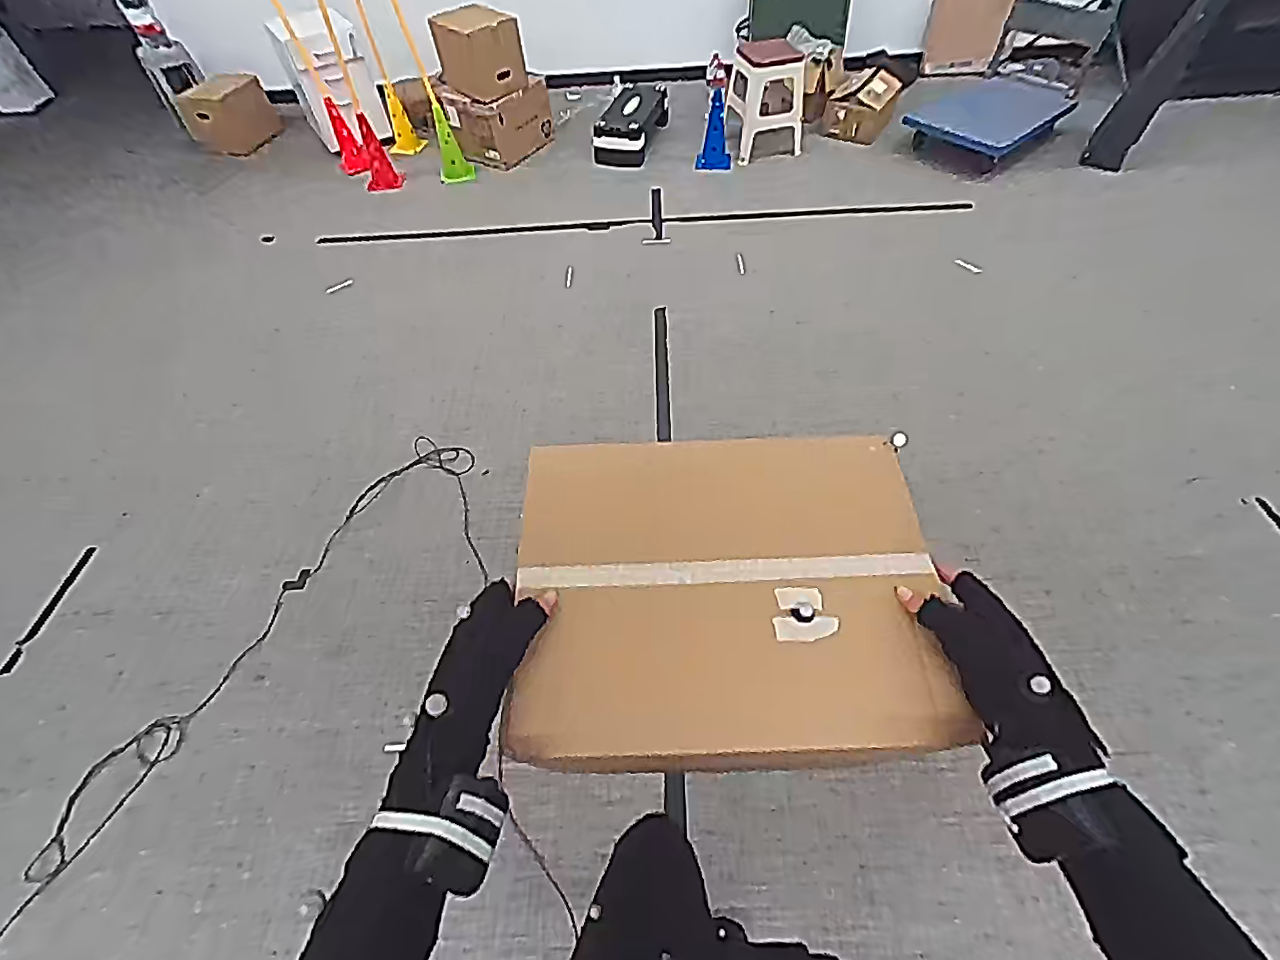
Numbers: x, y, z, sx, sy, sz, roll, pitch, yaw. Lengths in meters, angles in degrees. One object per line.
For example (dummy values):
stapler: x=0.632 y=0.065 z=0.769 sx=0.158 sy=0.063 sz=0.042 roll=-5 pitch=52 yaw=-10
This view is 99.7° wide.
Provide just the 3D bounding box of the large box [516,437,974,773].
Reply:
large box: x=0.084 y=0.167 z=0.663 sx=0.408 sy=0.320 sz=0.320 roll=-2 pitch=60 yaw=-1
